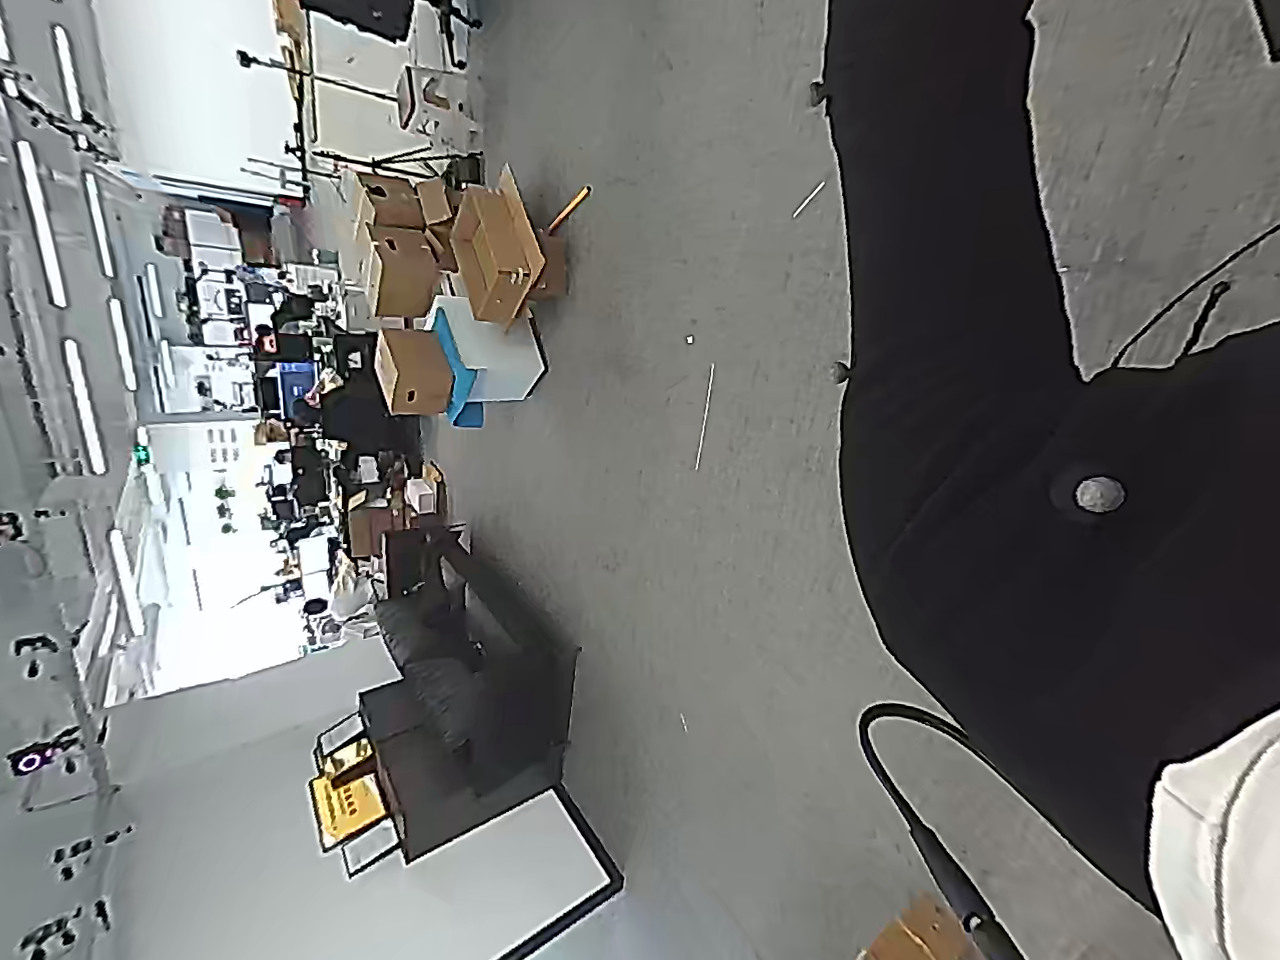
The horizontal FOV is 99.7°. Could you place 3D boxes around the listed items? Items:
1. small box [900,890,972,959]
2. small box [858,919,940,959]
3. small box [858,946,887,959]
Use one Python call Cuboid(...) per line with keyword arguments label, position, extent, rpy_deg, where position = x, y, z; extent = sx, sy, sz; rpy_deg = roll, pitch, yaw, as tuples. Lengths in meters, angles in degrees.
Cuboid(label="small box", position=(0.935, 1.482, 1.746), extent=(0.168, 0.176, 0.179), rpy_deg=(41, 127, 43))
Cuboid(label="small box", position=(0.798, 1.504, 1.661), extent=(0.179, 0.176, 0.168), rpy_deg=(38, 126, 43))
Cuboid(label="small box", position=(0.672, 1.516, 1.558), extent=(0.179, 0.176, 0.168), rpy_deg=(43, 128, 41))
